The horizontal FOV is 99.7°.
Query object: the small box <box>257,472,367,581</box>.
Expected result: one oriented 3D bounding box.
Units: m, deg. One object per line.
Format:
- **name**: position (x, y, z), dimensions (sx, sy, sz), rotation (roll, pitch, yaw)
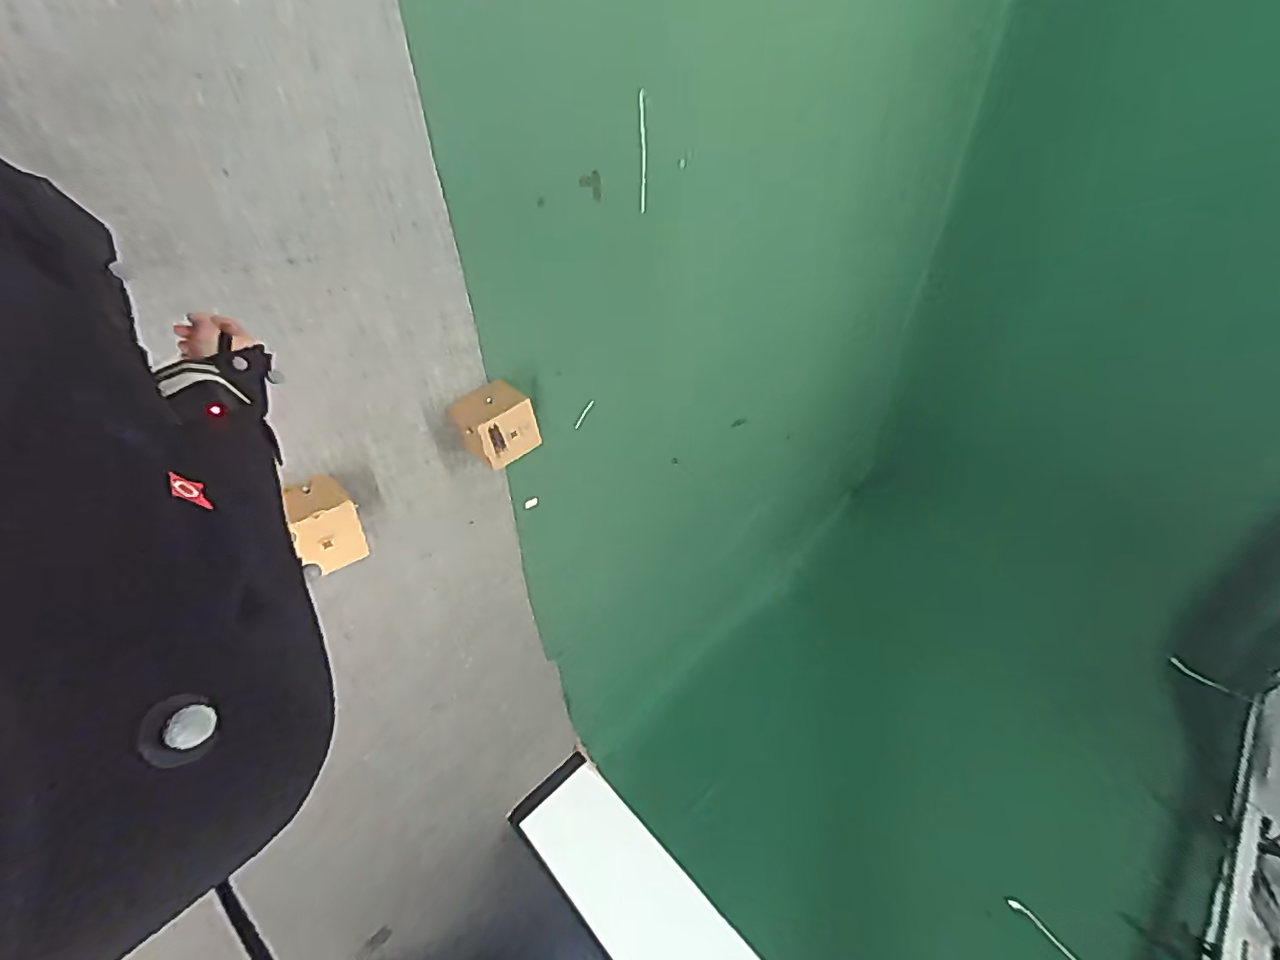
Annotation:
- **small box**: position (-0.807, 0.108, 1.336), dimensions (0.168, 0.176, 0.179), rotation (-27, 134, -35)
